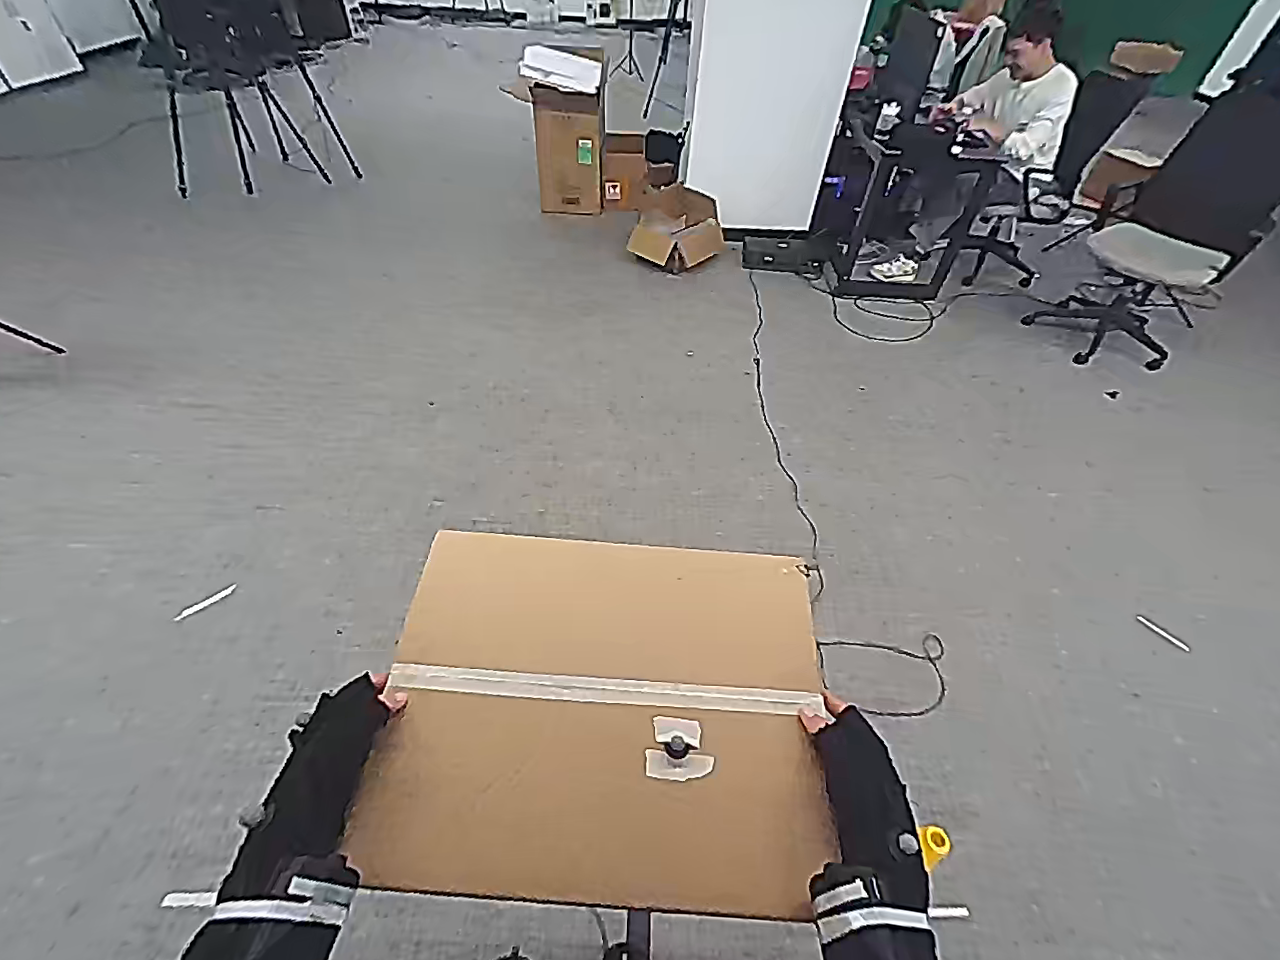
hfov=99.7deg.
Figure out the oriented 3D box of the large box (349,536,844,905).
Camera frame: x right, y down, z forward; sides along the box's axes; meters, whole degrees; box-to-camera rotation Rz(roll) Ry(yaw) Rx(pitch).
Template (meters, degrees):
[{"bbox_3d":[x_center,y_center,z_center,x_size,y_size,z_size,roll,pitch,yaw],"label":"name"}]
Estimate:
[{"bbox_3d":[-0.035,0.286,0.633,0.408,0.320,0.320,5,54,0],"label":"large box"}]
